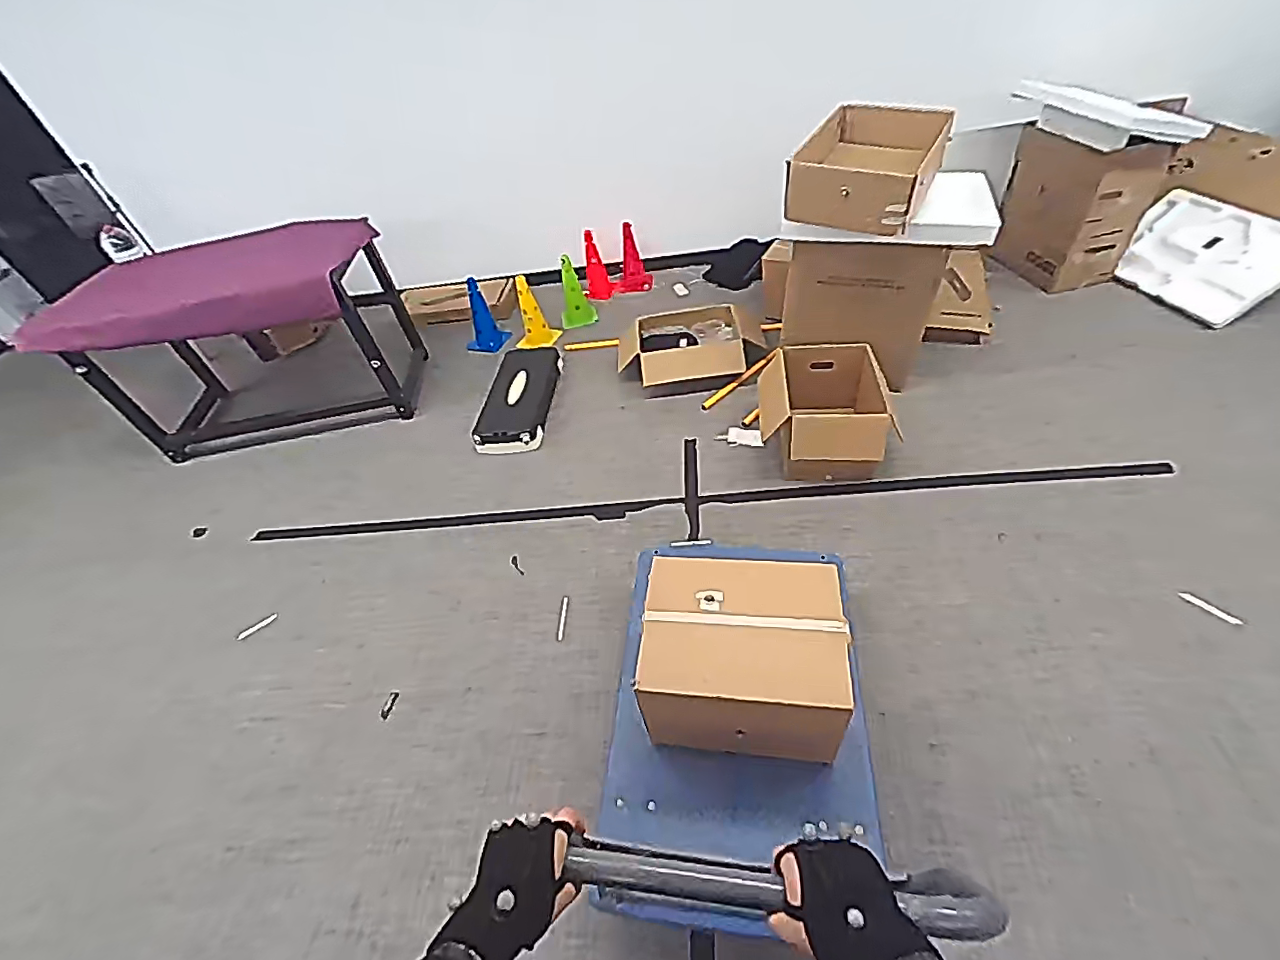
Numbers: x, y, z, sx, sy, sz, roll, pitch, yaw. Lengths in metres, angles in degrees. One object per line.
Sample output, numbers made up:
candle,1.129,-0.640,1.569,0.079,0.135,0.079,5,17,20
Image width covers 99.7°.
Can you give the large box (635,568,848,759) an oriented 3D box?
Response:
large box,0.226,0.413,1.224,0.408,0.320,0.320,0,45,11
